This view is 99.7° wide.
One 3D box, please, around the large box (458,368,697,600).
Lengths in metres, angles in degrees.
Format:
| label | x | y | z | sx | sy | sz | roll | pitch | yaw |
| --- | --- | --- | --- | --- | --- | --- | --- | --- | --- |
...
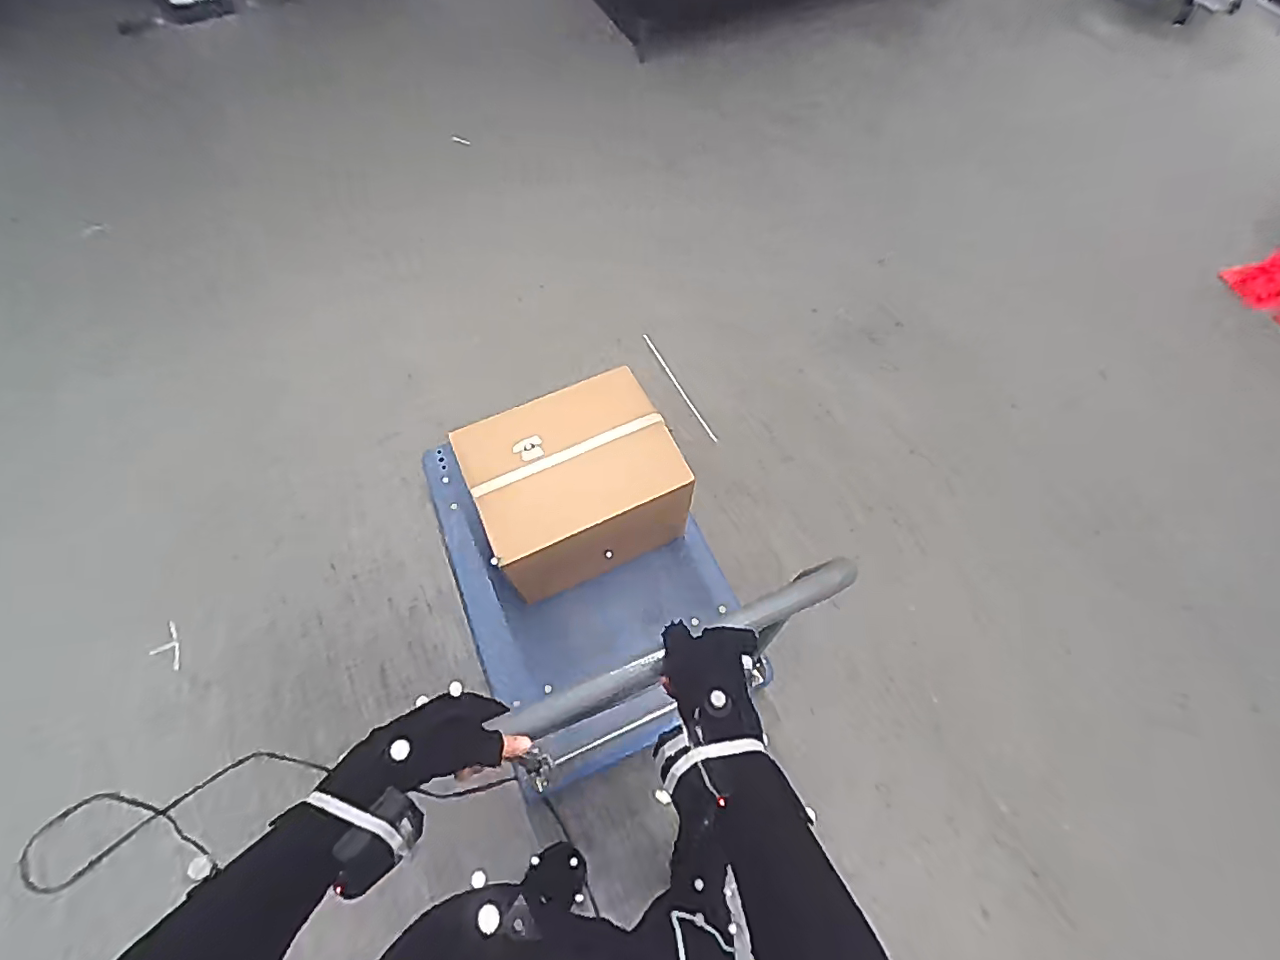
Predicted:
| label | x | y | z | sx | sy | sz | roll | pitch | yaw |
| --- | --- | --- | --- | --- | --- | --- | --- | --- | --- |
| large box | -0.129 | 0.019 | 1.213 | 0.408 | 0.320 | 0.320 | -24 | 66 | -11 |
